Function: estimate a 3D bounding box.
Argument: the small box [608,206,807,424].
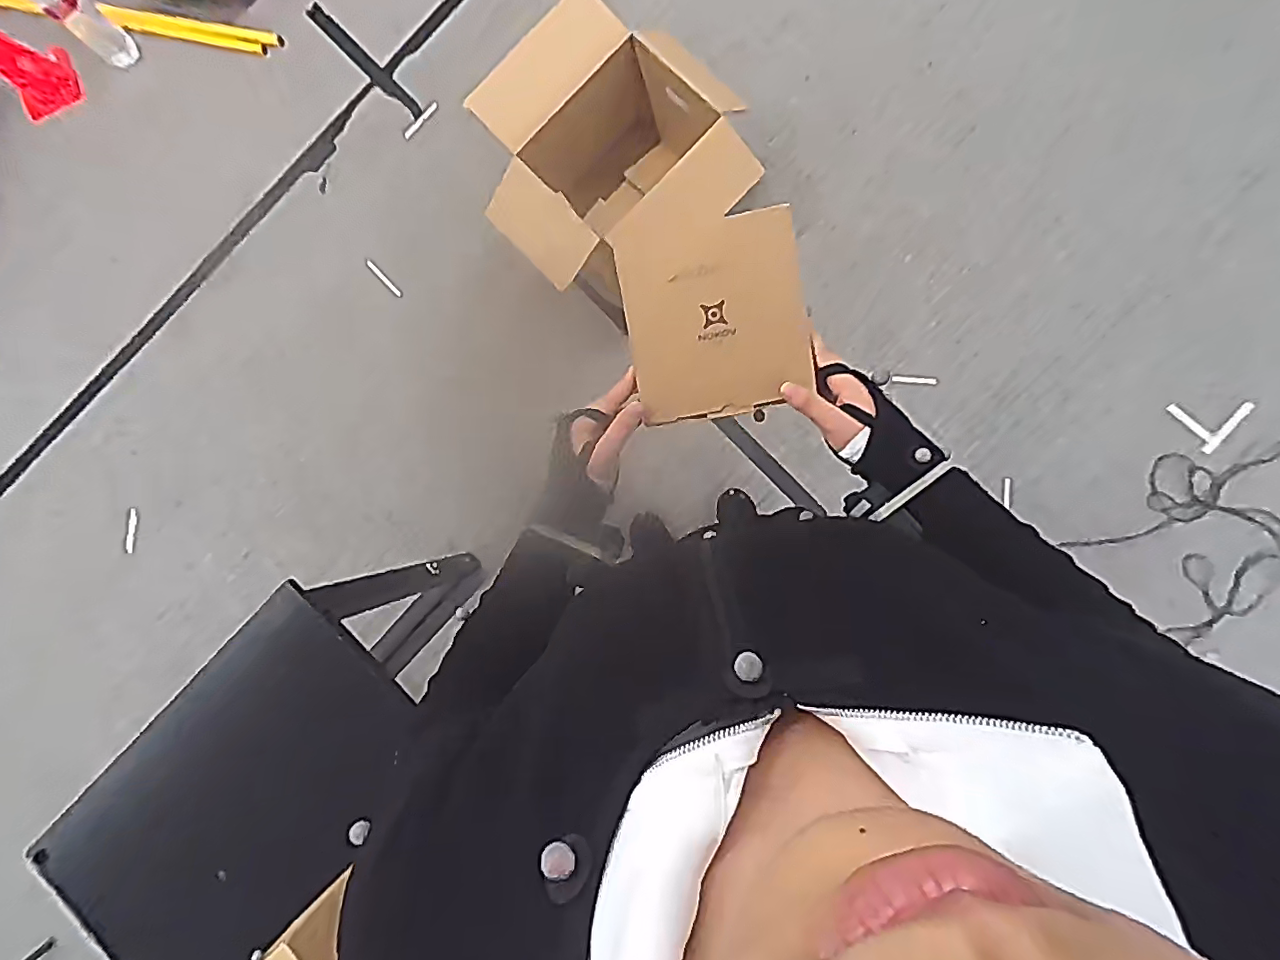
[{"bbox_3d":[0.071,-0.162,0.586,0.168,0.176,0.179,-10,95,5],"label":"small box"}]

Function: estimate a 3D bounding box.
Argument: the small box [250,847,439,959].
[{"bbox_3d":[-0.411,0.657,0.729,0.168,0.176,0.179,-44,86,2],"label":"small box"}]
